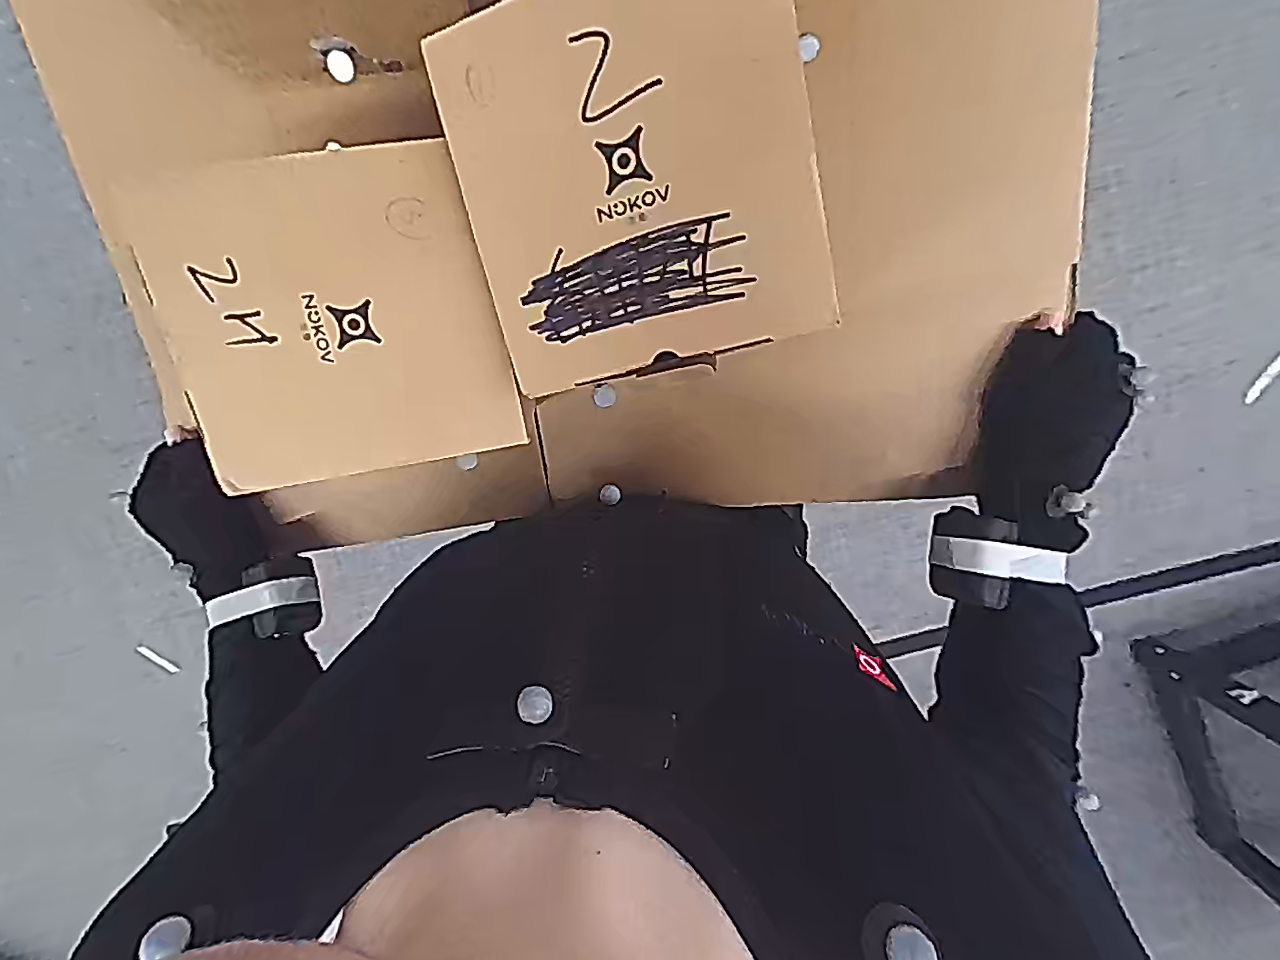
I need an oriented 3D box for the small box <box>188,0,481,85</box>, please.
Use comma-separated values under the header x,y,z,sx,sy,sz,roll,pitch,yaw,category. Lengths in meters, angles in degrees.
x,y,z,sx,sy,sz,roll,pitch,yaw,category
-0.196,-0.362,0.302,0.168,0.176,0.179,-10,106,-6,small box
